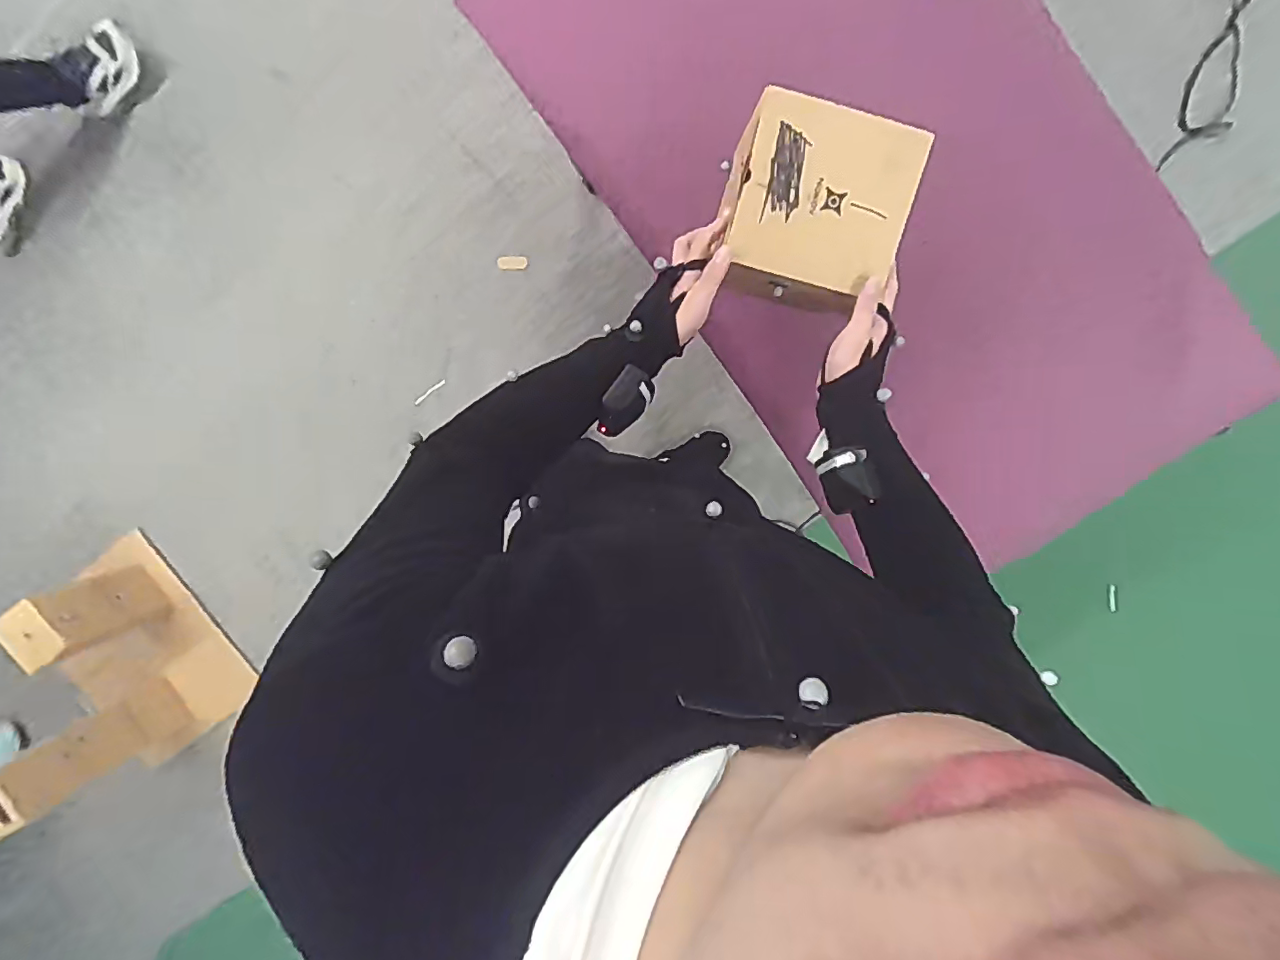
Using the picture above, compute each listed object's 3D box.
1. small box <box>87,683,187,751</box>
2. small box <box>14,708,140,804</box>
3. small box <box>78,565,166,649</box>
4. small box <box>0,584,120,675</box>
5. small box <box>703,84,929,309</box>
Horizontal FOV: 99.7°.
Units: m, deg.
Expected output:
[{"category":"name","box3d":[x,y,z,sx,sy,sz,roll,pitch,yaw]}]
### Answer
[{"category":"small box","box3d":[-1.684,0.803,1.799,0.168,0.176,0.179,-26,96,8]},{"category":"small box","box3d":[-1.692,0.822,1.635,0.168,0.176,0.179,-27,96,8]},{"category":"small box","box3d":[-1.702,0.403,1.740,0.168,0.176,0.179,-34,95,8]},{"category":"small box","box3d":[-1.707,0.424,1.580,0.168,0.176,0.179,-35,96,8]},{"category":"small box","box3d":[0.180,-0.302,0.618,0.179,0.176,0.168,13,102,-5]}]
